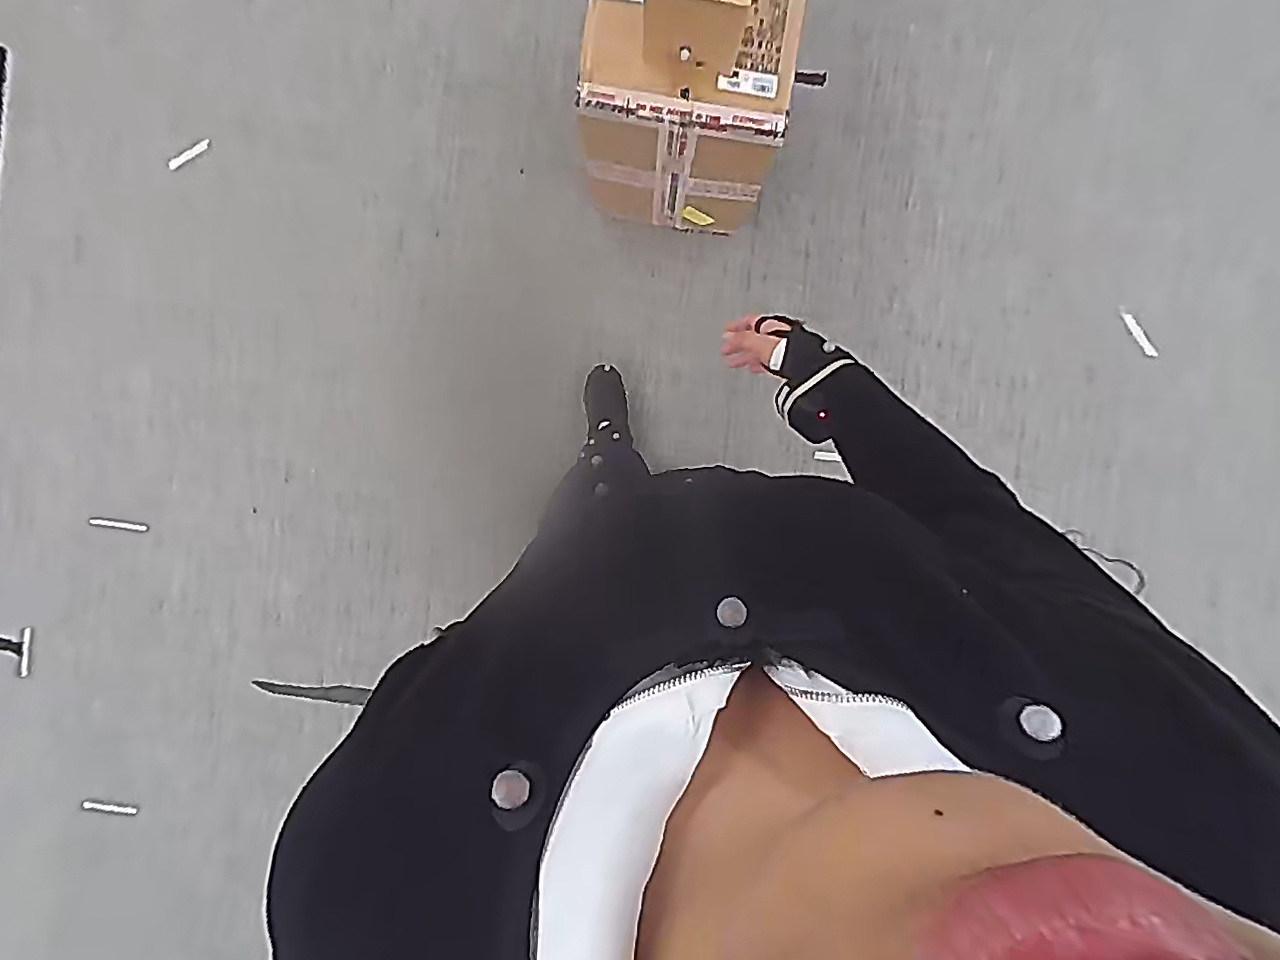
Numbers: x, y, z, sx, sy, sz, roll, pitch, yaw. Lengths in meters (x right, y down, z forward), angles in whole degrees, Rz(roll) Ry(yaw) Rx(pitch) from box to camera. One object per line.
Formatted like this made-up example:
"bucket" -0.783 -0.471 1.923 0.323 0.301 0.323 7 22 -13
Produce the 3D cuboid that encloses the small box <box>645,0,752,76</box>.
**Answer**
"small box" 0.100 -0.817 0.883 0.168 0.176 0.179 10 96 -1
